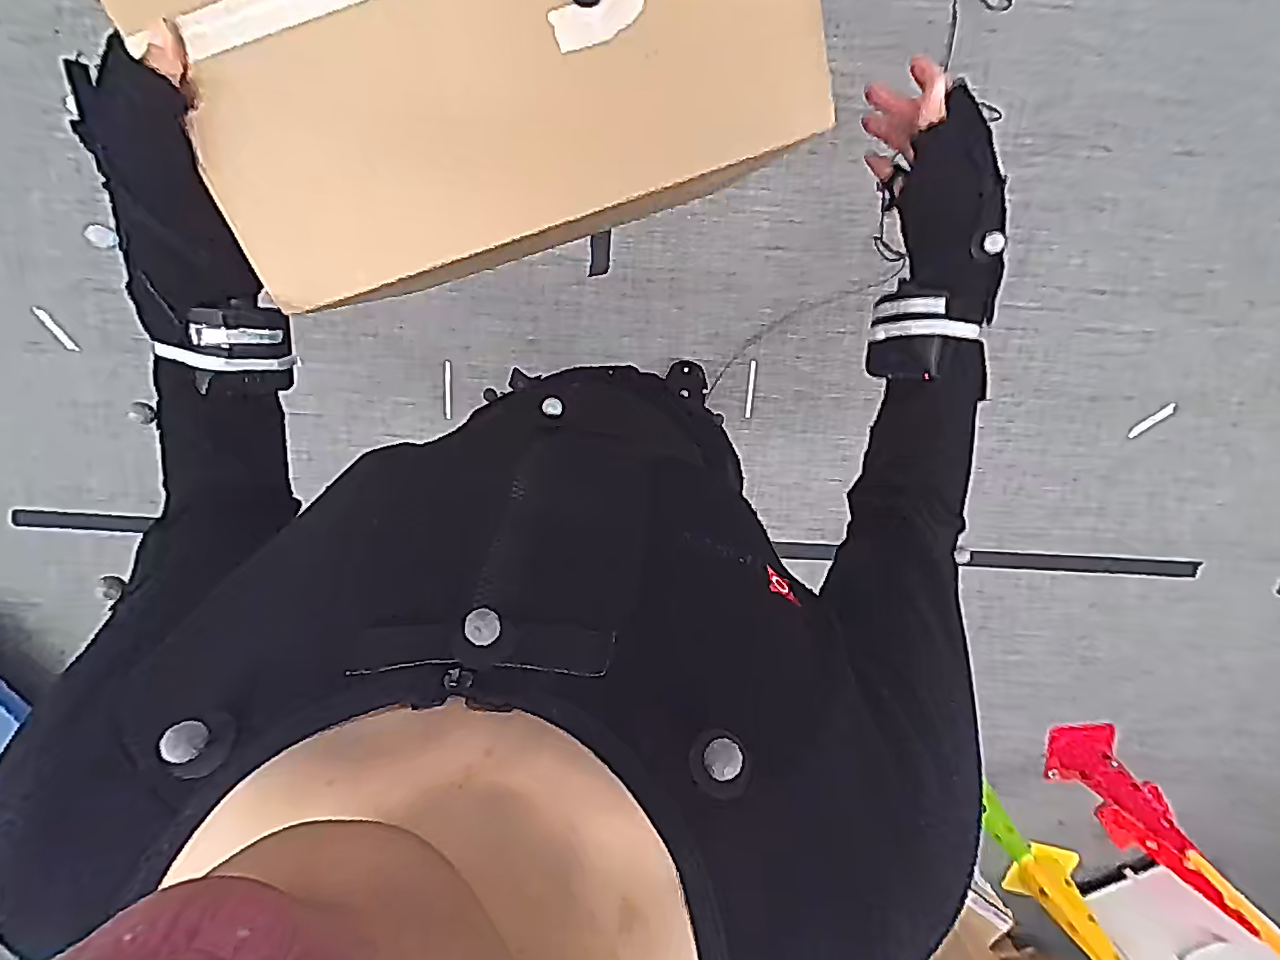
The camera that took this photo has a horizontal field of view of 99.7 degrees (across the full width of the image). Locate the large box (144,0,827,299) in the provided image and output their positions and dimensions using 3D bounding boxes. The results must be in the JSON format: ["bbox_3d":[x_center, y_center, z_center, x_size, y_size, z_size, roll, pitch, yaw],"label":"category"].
[{"bbox_3d":[-0.114,-0.376,0.465,0.408,0.320,0.320,-18,112,2],"label":"large box"}]
